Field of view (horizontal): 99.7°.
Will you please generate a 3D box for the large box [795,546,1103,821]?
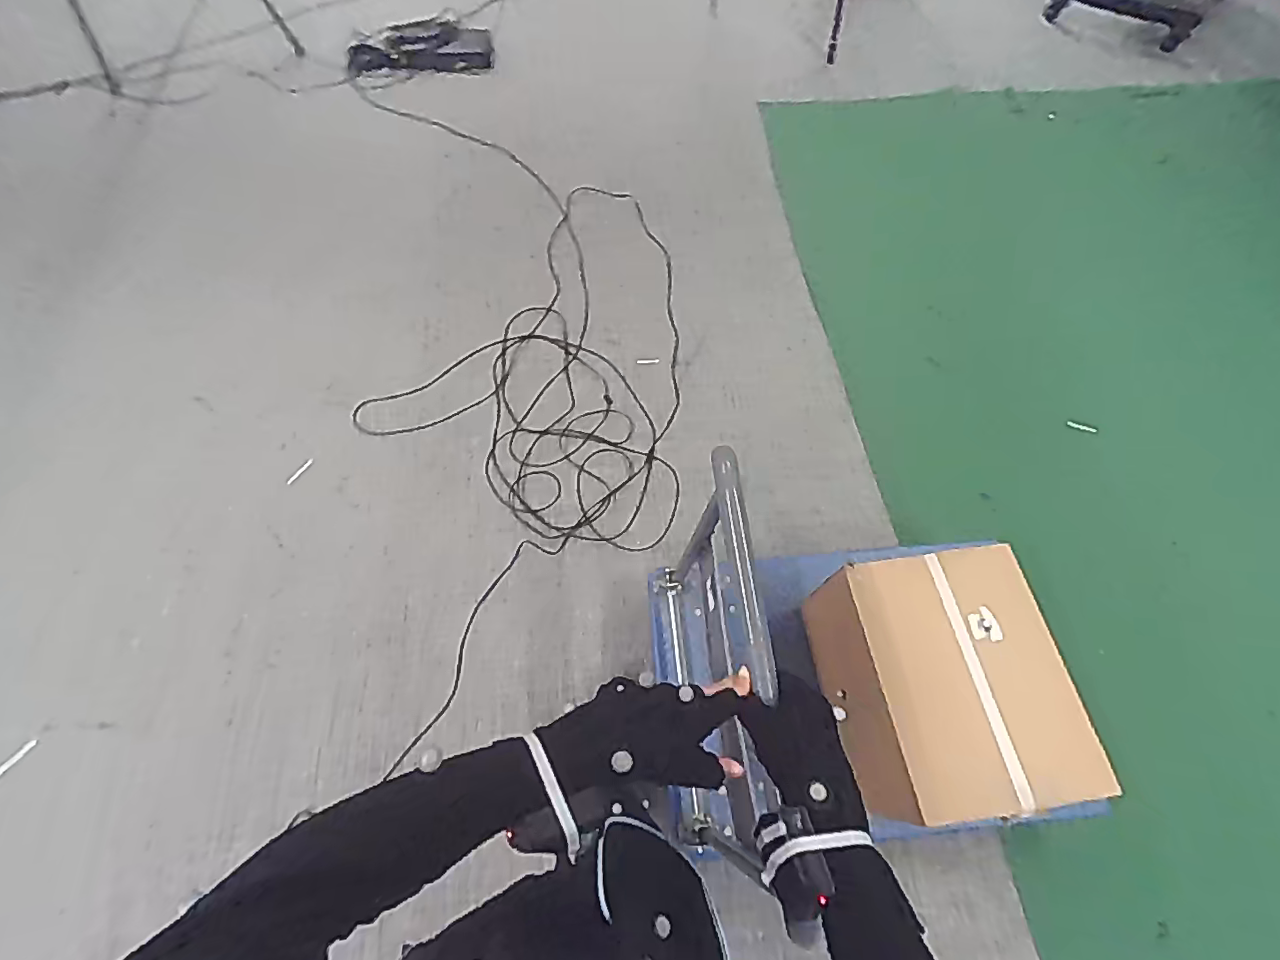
[{"bbox_3d":[0.529,0.383,1.033,0.320,0.320,0.408,-6,63,-5],"label":"large box"}]
